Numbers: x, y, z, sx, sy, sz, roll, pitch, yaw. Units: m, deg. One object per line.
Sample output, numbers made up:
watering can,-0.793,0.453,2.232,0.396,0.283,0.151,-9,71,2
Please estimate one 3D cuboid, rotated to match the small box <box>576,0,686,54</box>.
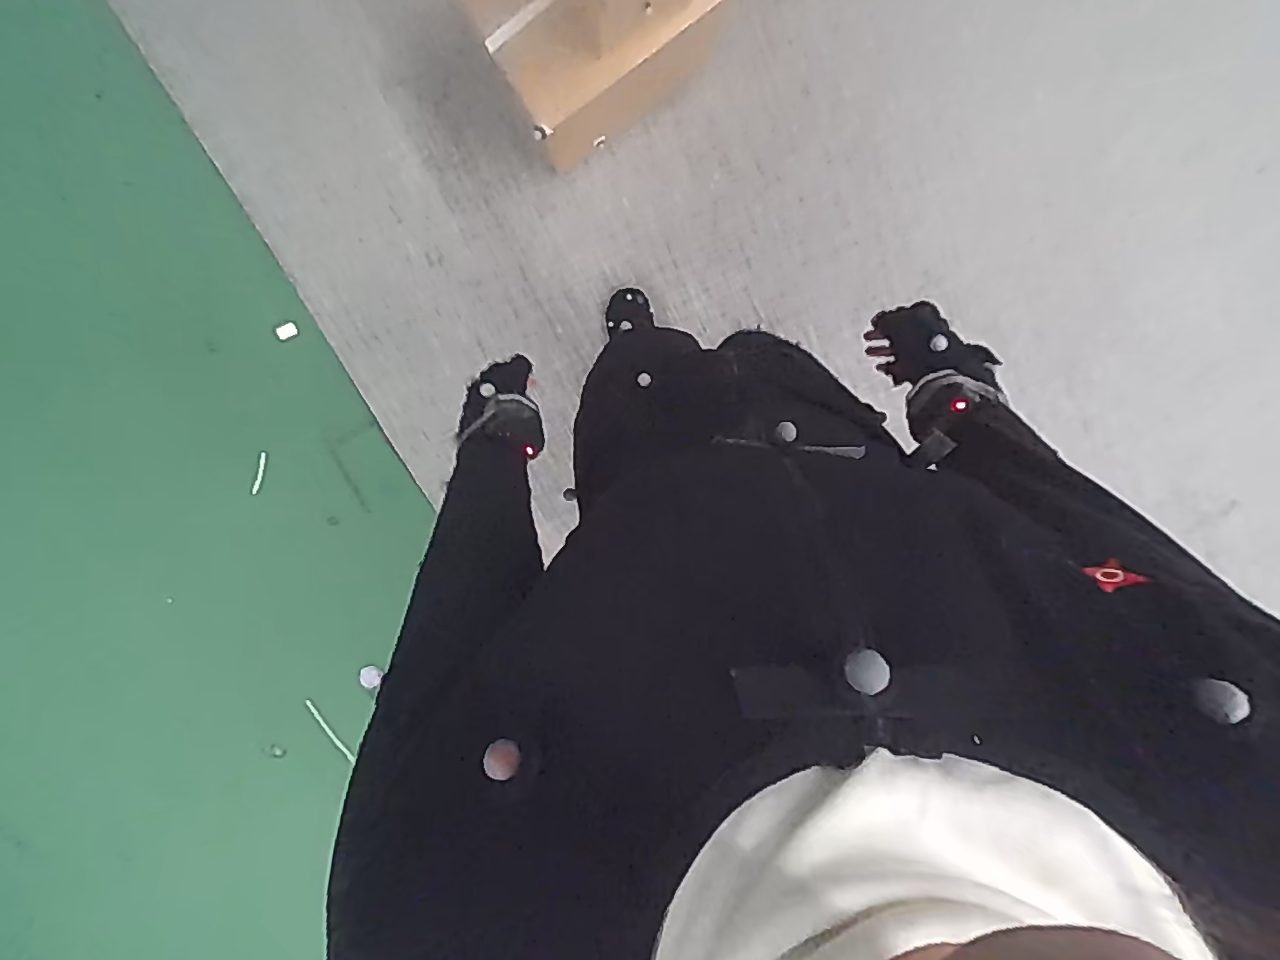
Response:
small box,-0.021,-0.793,0.802,0.179,0.176,0.168,-28,107,7
